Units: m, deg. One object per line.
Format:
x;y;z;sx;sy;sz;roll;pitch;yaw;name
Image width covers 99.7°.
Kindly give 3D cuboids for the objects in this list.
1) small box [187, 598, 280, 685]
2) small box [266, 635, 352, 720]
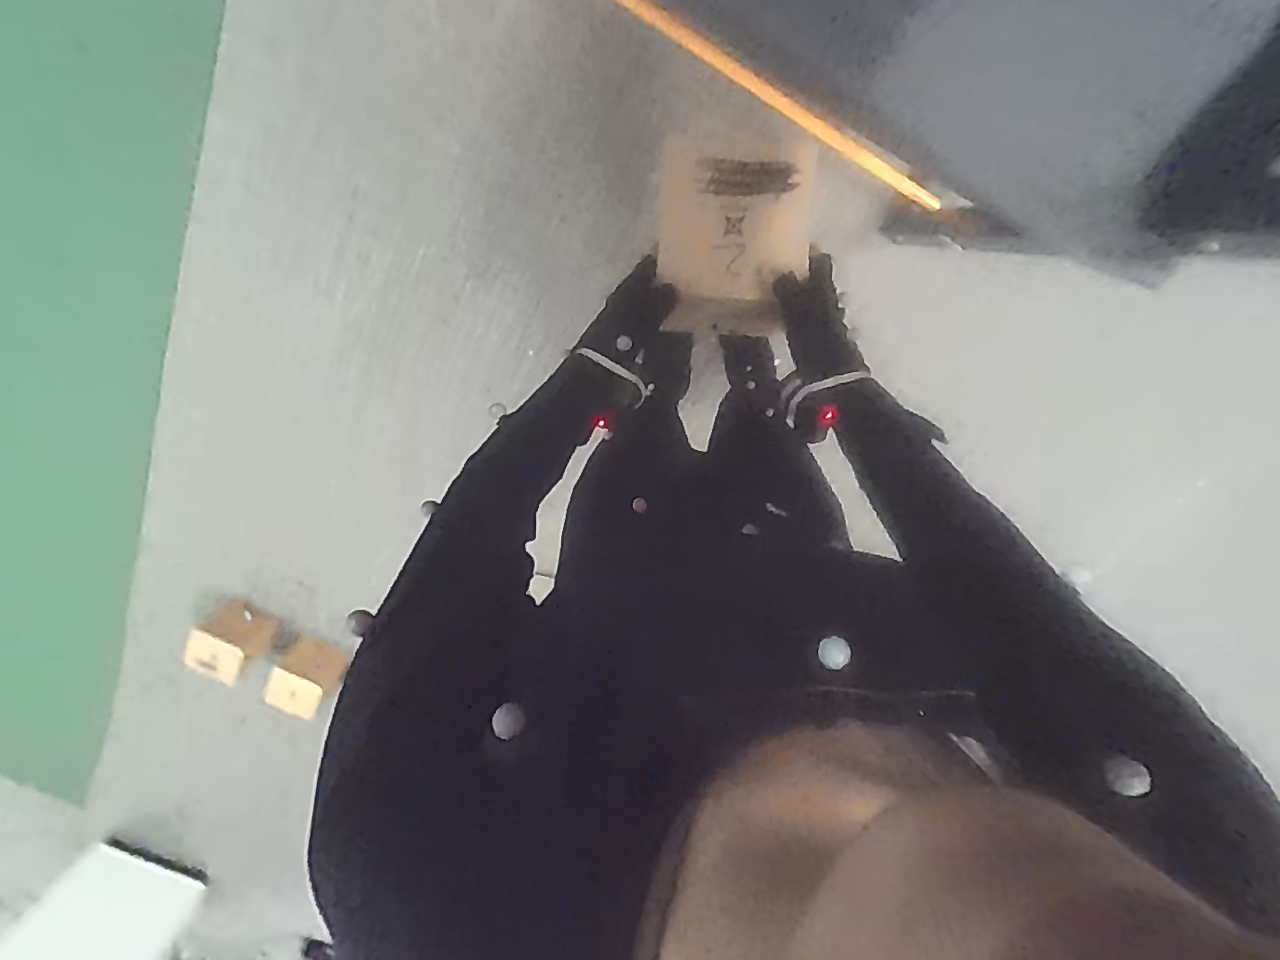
-1.326;0.525;1.772;0.168;0.176;0.179;29;113;-8;small box
-1.102;0.657;1.812;0.168;0.176;0.179;28;114;-7;small box
